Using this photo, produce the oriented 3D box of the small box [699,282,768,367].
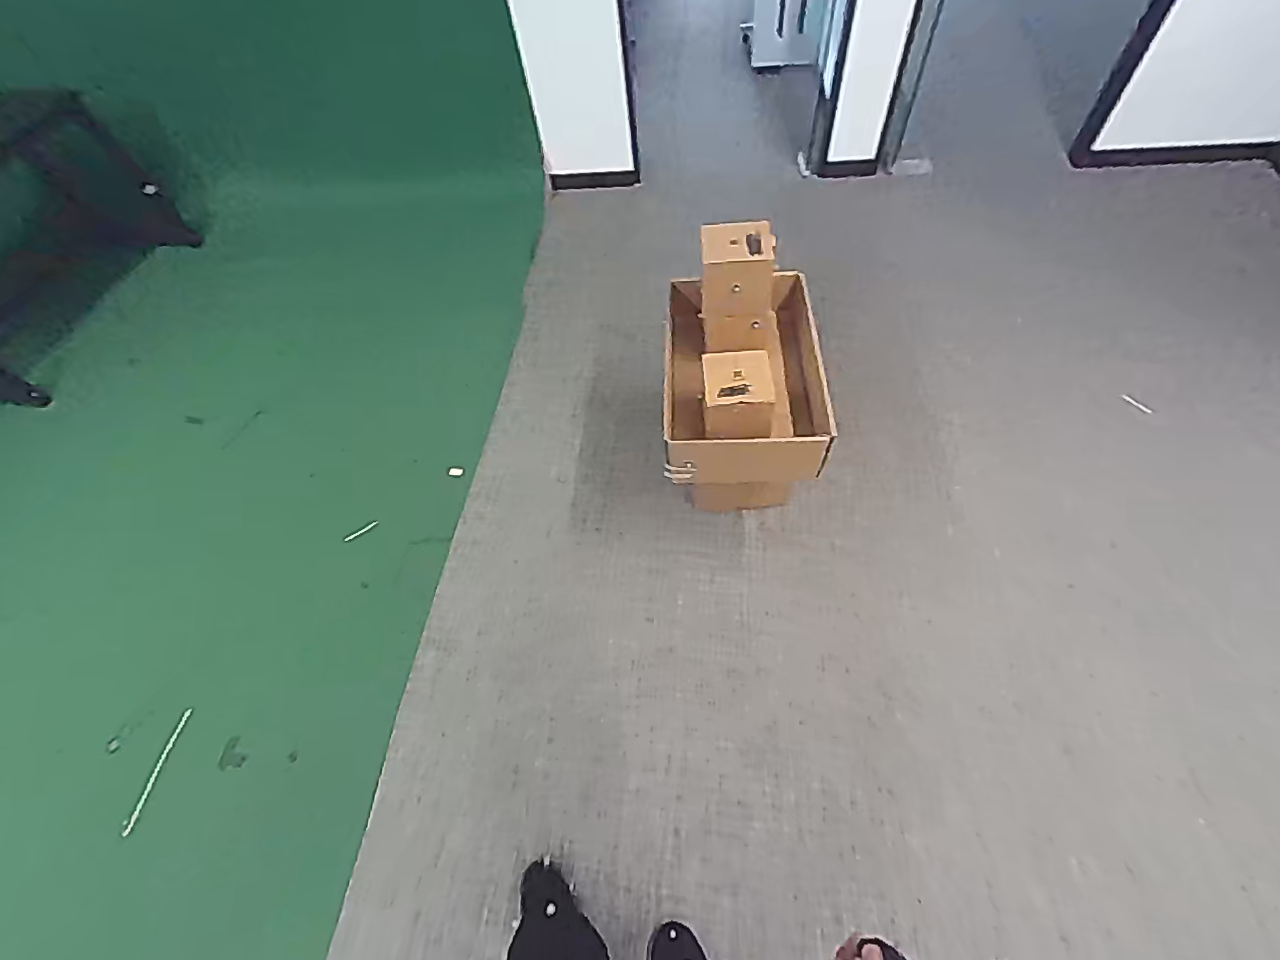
[{"bbox_3d":[0.264,-0.443,1.555,0.179,0.176,0.168,-4,55,3],"label":"small box"}]
